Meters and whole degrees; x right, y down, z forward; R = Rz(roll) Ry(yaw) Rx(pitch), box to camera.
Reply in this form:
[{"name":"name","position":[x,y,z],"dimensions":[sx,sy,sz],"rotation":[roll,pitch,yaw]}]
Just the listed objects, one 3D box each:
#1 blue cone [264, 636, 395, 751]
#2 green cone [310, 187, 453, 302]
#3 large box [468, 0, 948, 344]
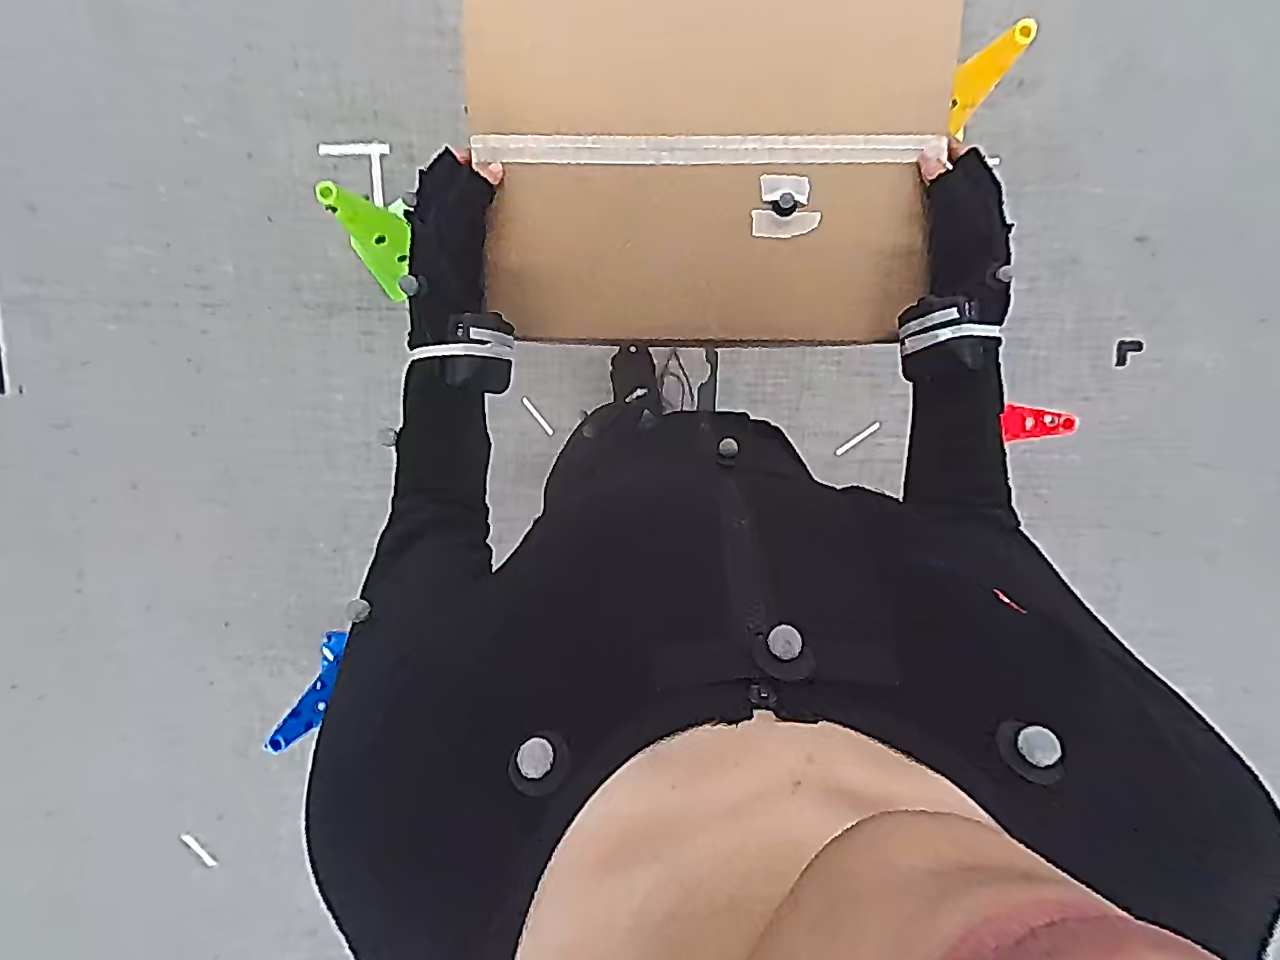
[{"name":"blue cone","position":[-0.780,0.545,1.344],"dimensions":[0.192,0.380,0.193],"rotation":[4,96,-1]},{"name":"green cone","position":[-0.604,-0.564,1.202],"dimensions":[0.202,0.368,0.200],"rotation":[-36,95,5]},{"name":"large box","position":[0.055,-0.322,0.613],"dimensions":[0.408,0.320,0.320],"rotation":[0,103,0]}]
